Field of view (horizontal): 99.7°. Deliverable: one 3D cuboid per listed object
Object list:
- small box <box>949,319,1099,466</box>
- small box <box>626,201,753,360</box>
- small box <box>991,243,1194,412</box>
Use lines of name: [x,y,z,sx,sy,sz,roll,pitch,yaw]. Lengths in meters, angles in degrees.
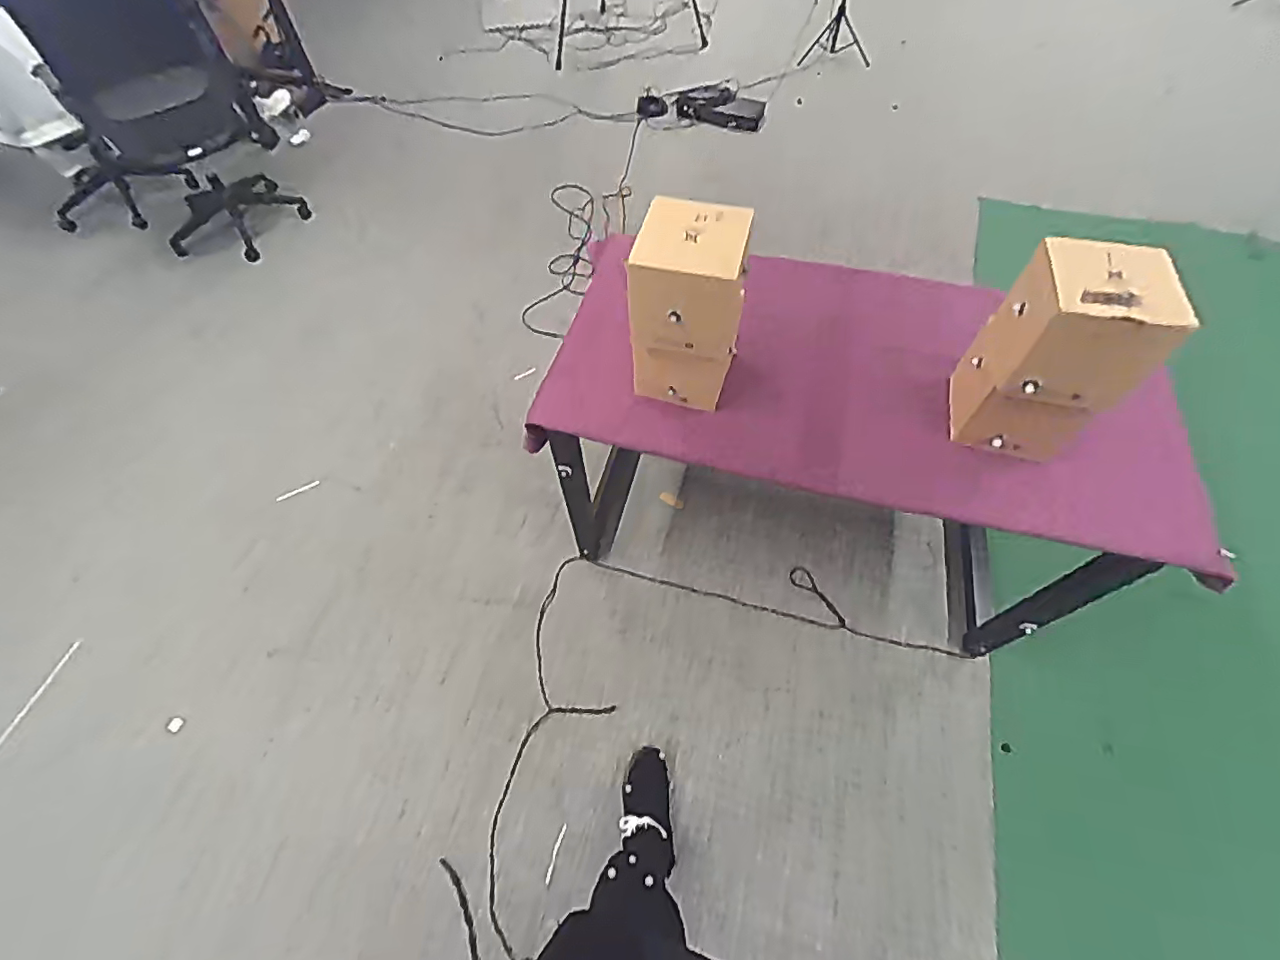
small box: [0.675,-0.154,0.969,0.168,0.176,0.179,14,59,12]
small box: [0.082,-0.325,0.897,0.168,0.176,0.179,13,60,9]
small box: [0.663,-0.227,0.821,0.168,0.176,0.179,12,57,11]
